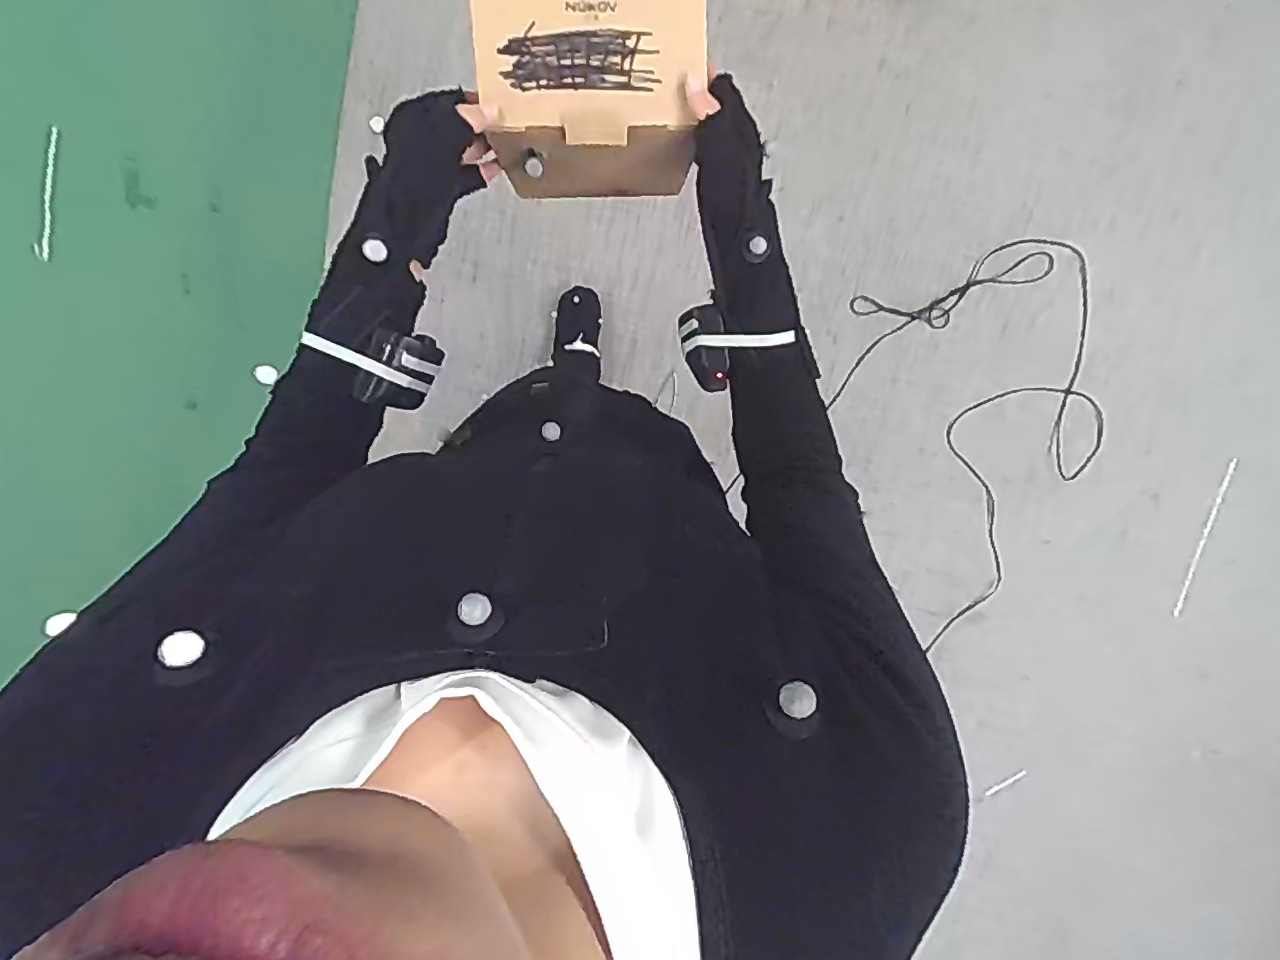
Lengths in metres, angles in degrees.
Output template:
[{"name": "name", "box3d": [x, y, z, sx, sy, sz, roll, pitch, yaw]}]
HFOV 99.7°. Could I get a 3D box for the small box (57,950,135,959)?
[{"name": "small box", "box3d": [-0.799, 0.815, 0.749, 0.168, 0.176, 0.179, 11, 99, -5]}]
